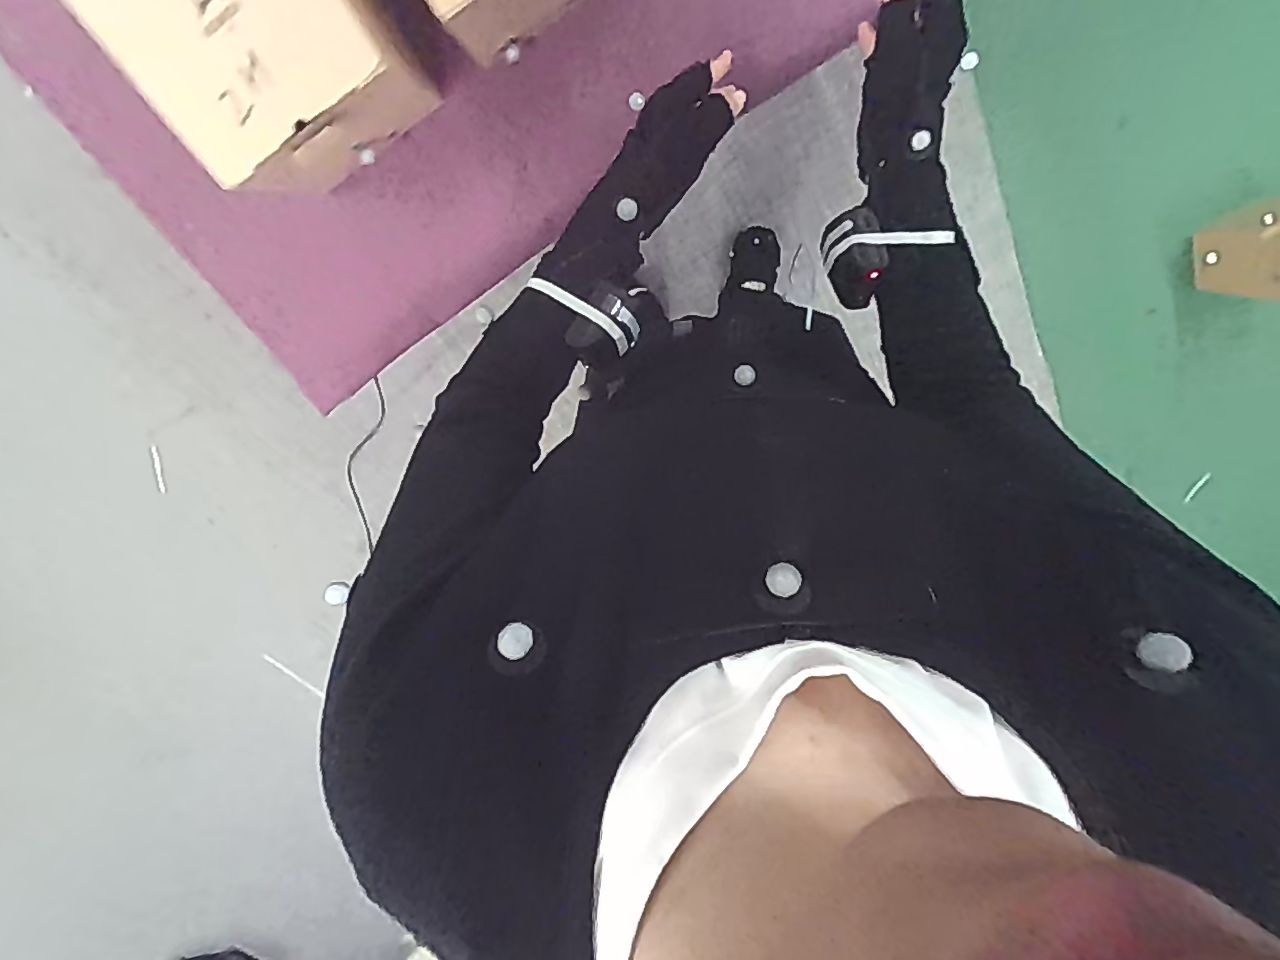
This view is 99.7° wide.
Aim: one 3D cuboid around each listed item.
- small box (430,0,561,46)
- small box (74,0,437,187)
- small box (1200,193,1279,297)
[{"bbox_3d":[-0.119,-0.480,0.419,0.168,0.176,0.179,-28,118,15],"label":"small box"},{"bbox_3d":[-0.307,-0.374,0.456,0.168,0.176,0.179,-29,116,11],"label":"small box"},{"bbox_3d":[1.509,-0.565,1.290,0.179,0.176,0.168,-27,116,11],"label":"small box"}]
